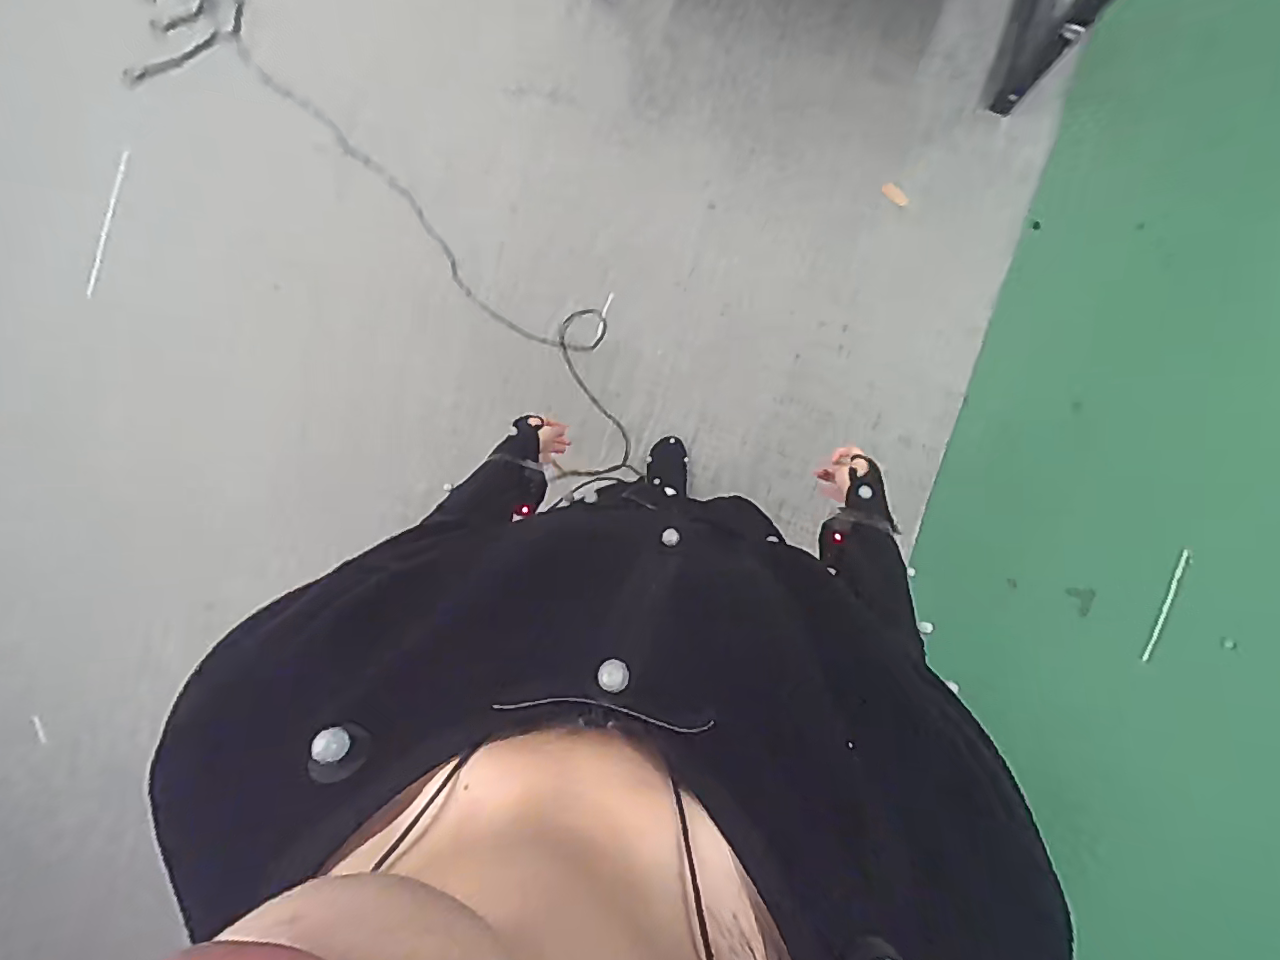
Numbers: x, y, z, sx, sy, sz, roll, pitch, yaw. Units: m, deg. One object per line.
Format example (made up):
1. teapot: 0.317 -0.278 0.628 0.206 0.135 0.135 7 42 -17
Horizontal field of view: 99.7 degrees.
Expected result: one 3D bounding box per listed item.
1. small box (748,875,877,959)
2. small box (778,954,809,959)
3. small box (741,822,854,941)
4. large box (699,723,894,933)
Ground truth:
1. small box: 0.288 0.835 0.935 0.168 0.176 0.179 9 90 4
2. small box: 0.279 0.838 0.771 0.168 0.176 0.179 7 89 5
3. small box: 0.311 0.832 1.098 0.179 0.176 0.168 7 90 5
4. large box: 0.357 0.831 1.340 0.408 0.320 0.320 3 92 3
